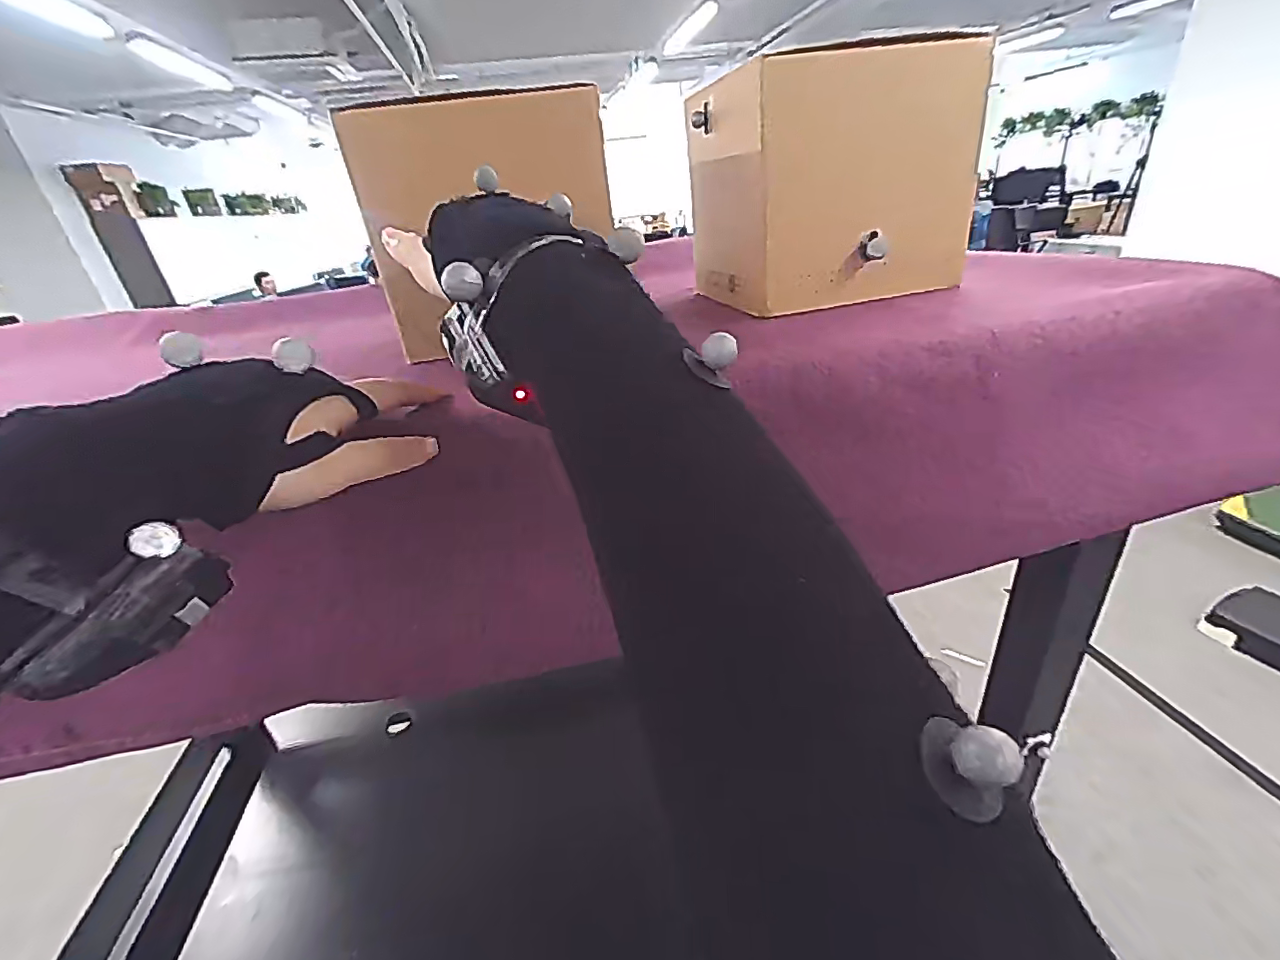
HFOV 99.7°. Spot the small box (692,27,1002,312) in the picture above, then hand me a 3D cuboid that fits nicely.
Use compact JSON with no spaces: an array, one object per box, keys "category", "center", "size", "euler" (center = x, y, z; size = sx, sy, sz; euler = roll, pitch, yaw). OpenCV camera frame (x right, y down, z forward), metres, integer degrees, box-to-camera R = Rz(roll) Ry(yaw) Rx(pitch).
[{"category":"small box","center":[0.152,-0.249,0.456],"size":[0.179,0.176,0.168],"euler":[-11,27,-9]}]

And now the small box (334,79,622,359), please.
[{"category":"small box","center":[-0.114,-0.212,0.455],"size":[0.179,0.176,0.168],"euler":[-11,27,-7]}]
